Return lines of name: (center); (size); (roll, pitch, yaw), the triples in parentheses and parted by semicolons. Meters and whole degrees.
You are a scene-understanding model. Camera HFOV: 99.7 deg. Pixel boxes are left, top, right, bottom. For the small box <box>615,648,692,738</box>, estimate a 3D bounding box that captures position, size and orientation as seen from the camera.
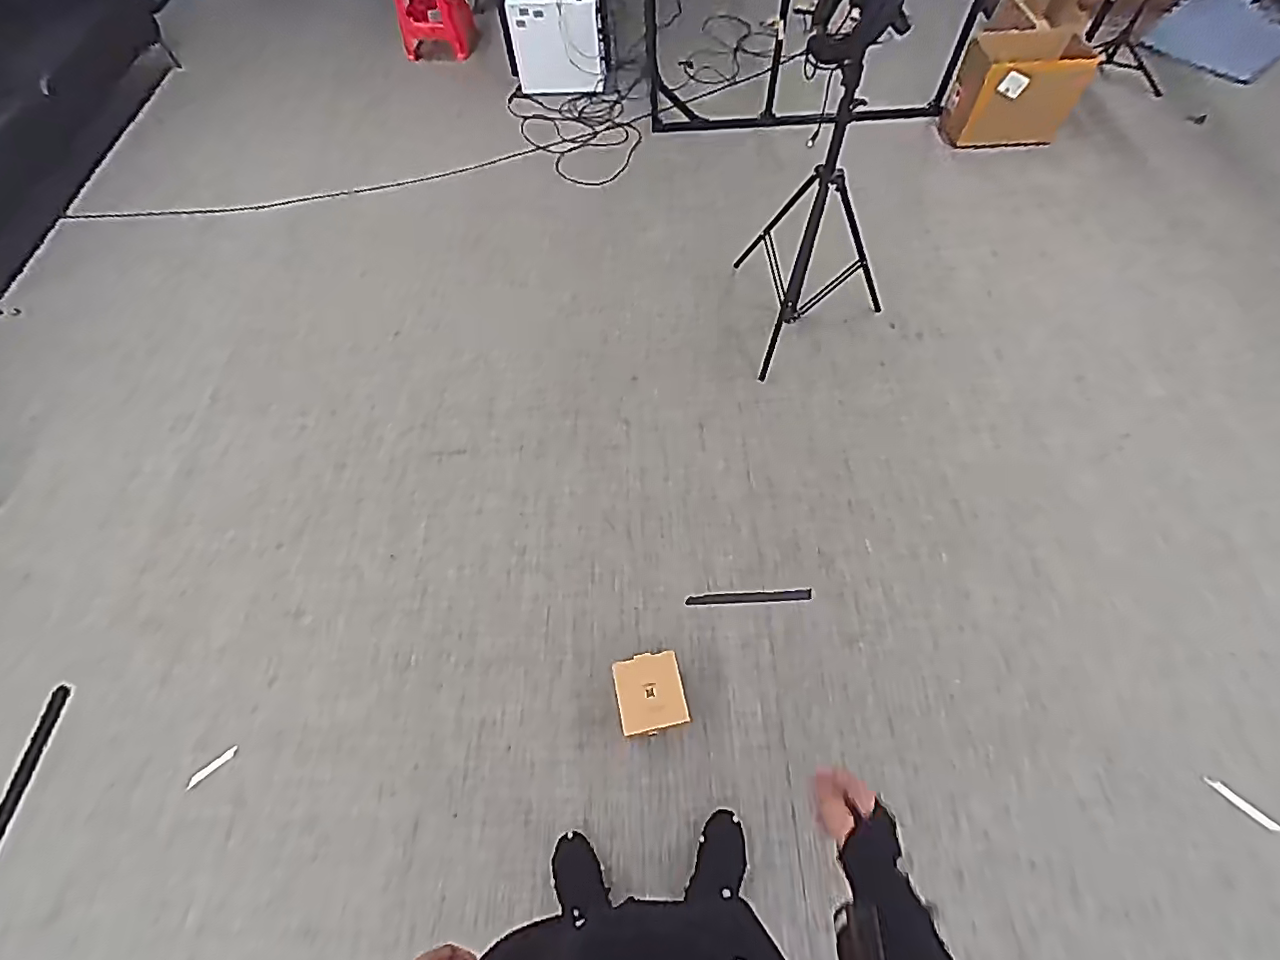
small box: (0.033, 0.555, 1.399); (0.168, 0.176, 0.179); (-12, 61, -2)
